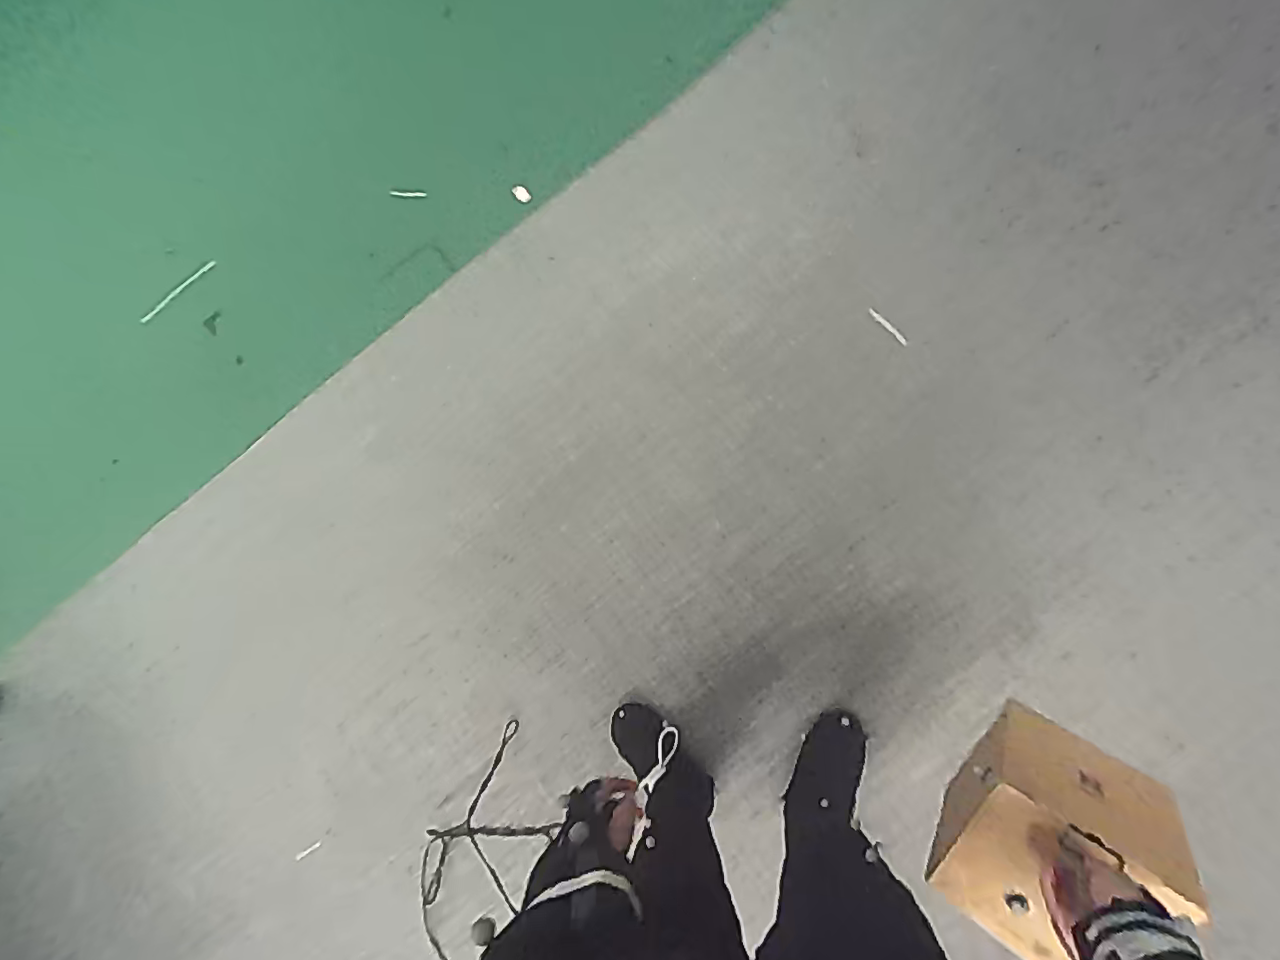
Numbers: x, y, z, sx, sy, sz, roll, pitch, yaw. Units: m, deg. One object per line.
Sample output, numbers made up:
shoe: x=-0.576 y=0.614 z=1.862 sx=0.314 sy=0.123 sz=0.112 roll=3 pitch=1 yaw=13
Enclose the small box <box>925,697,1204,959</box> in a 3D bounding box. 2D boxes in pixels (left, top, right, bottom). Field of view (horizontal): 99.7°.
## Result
small box: x=0.440 y=0.384 z=0.587 sx=0.168 sy=0.179 sz=0.176 roll=31 pitch=117 yaw=30
